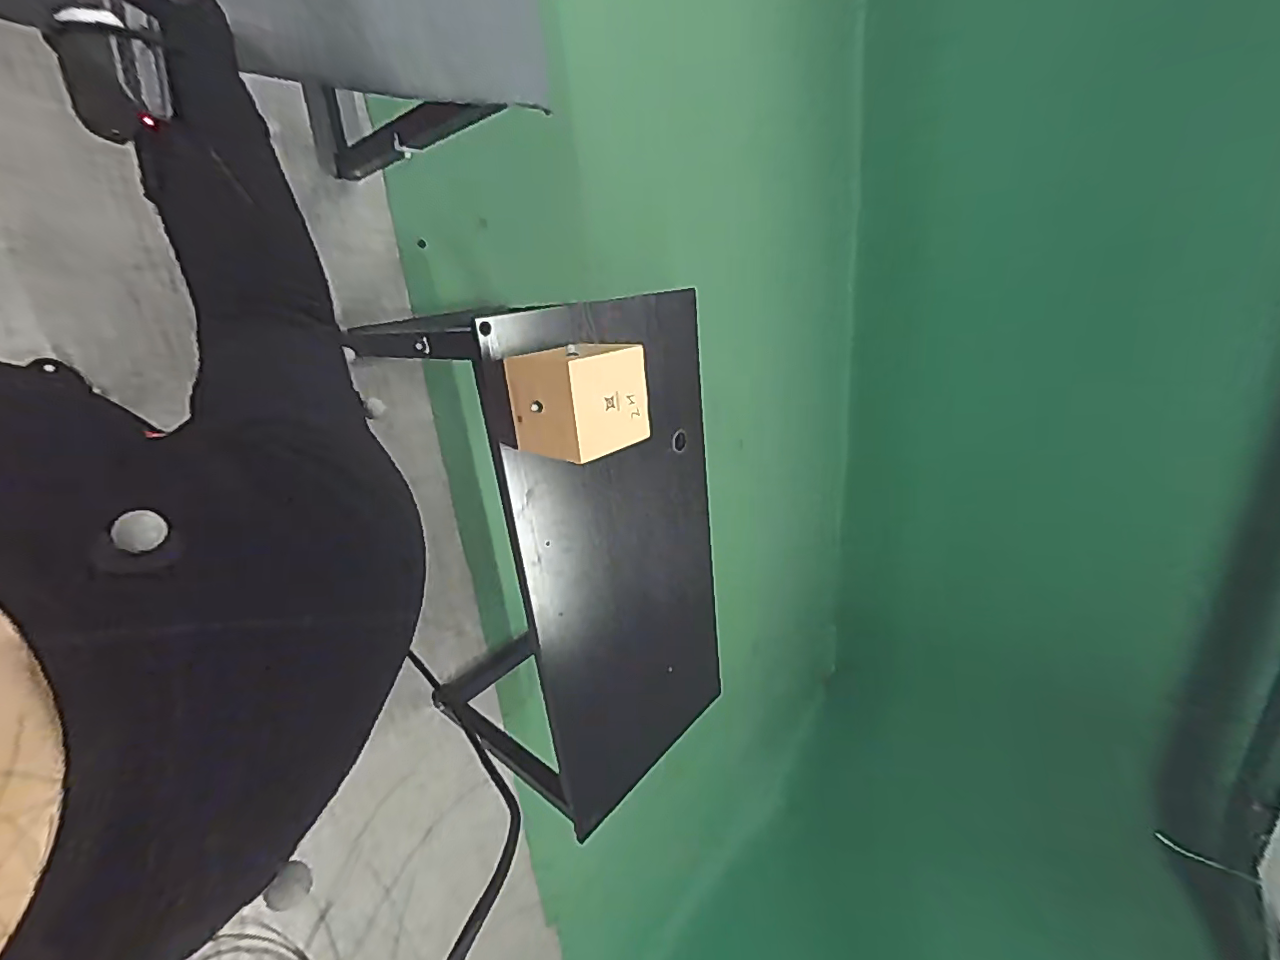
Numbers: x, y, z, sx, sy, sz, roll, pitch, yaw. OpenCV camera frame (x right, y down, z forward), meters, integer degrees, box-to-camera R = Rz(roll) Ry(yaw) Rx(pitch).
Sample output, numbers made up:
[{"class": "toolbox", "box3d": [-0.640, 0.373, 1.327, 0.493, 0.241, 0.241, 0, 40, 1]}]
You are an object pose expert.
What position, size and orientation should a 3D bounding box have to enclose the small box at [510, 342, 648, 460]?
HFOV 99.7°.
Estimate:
[{"class": "small box", "box3d": [-0.108, -0.145, 0.937, 0.179, 0.176, 0.168, -25, 119, -43]}]
